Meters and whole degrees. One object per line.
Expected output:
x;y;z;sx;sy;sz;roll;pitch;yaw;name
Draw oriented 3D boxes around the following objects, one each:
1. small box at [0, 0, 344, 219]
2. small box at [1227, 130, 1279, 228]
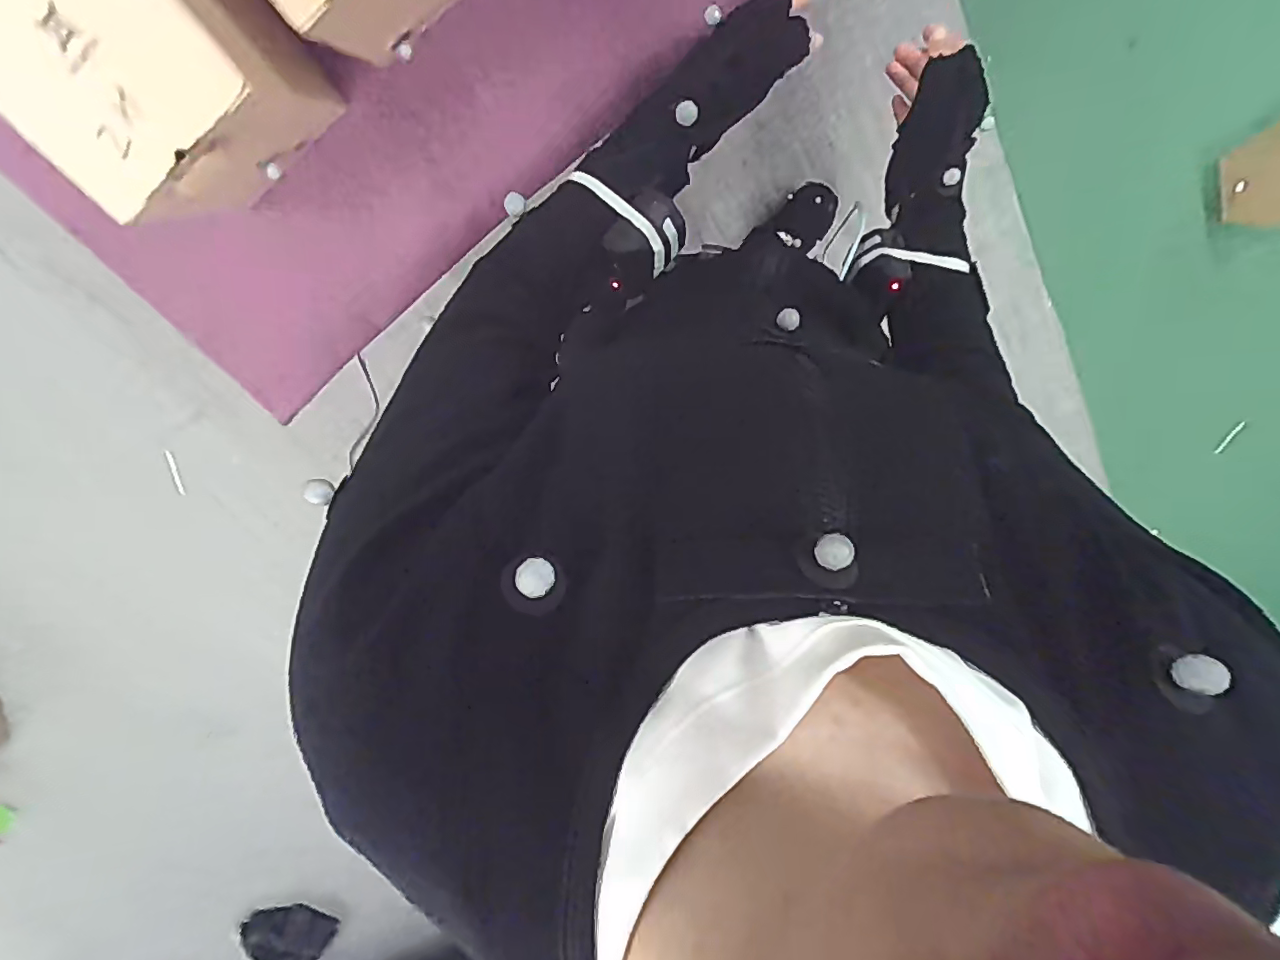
-0.402;-0.351;0.457;0.168;0.176;0.179;-31;117;15;small box
1.447;-0.675;1.170;0.179;0.176;0.168;-30;117;15;small box
